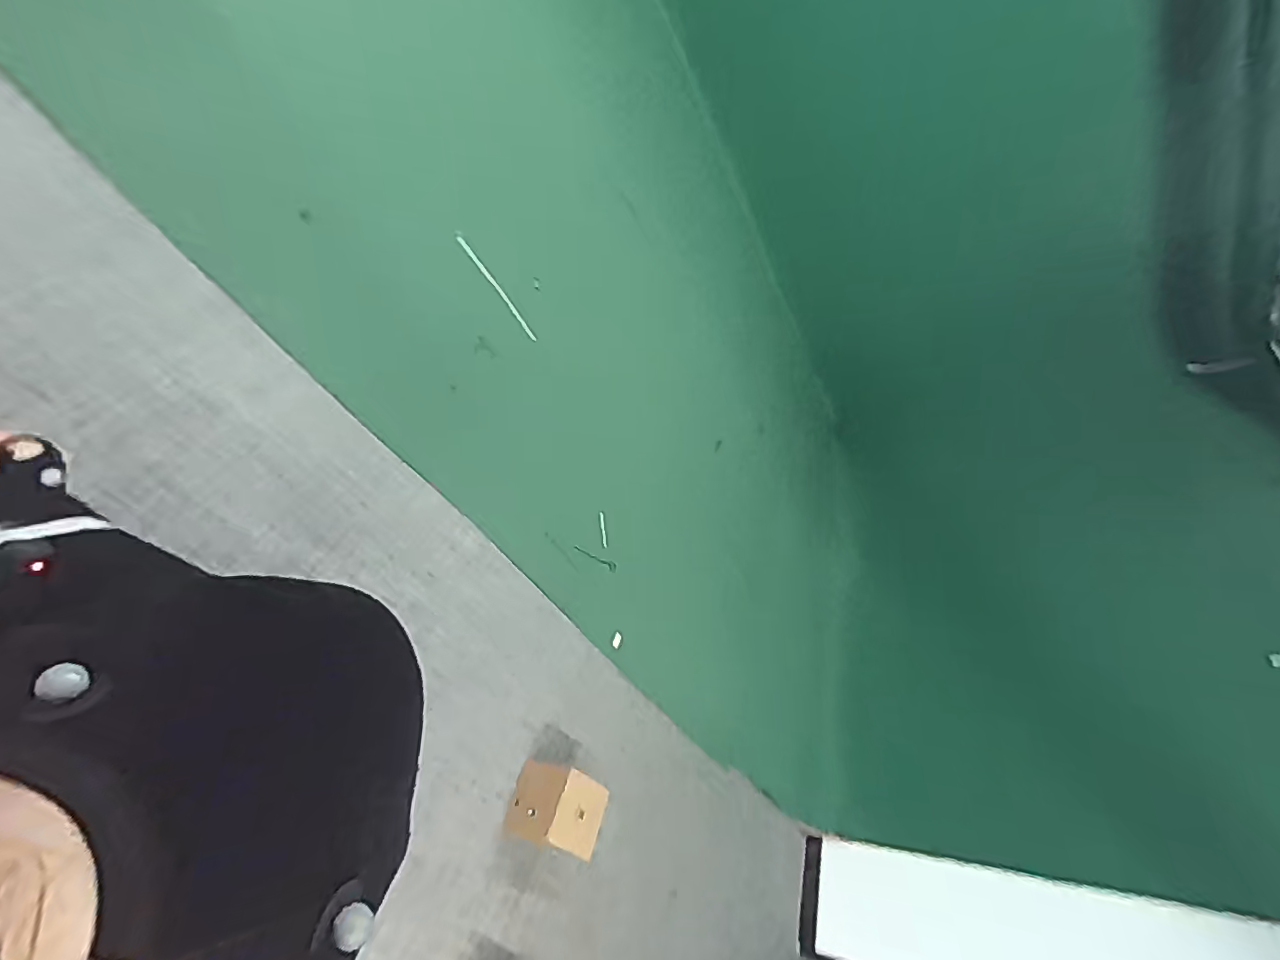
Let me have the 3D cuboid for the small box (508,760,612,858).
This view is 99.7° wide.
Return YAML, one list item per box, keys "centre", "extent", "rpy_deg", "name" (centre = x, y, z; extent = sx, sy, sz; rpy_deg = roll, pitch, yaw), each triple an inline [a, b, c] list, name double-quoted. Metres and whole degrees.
- centre: [-0.208, 0.846, 1.401]
  extent: [0.179, 0.176, 0.168]
  rpy_deg: [52, 43, -33]
  name: "small box"
